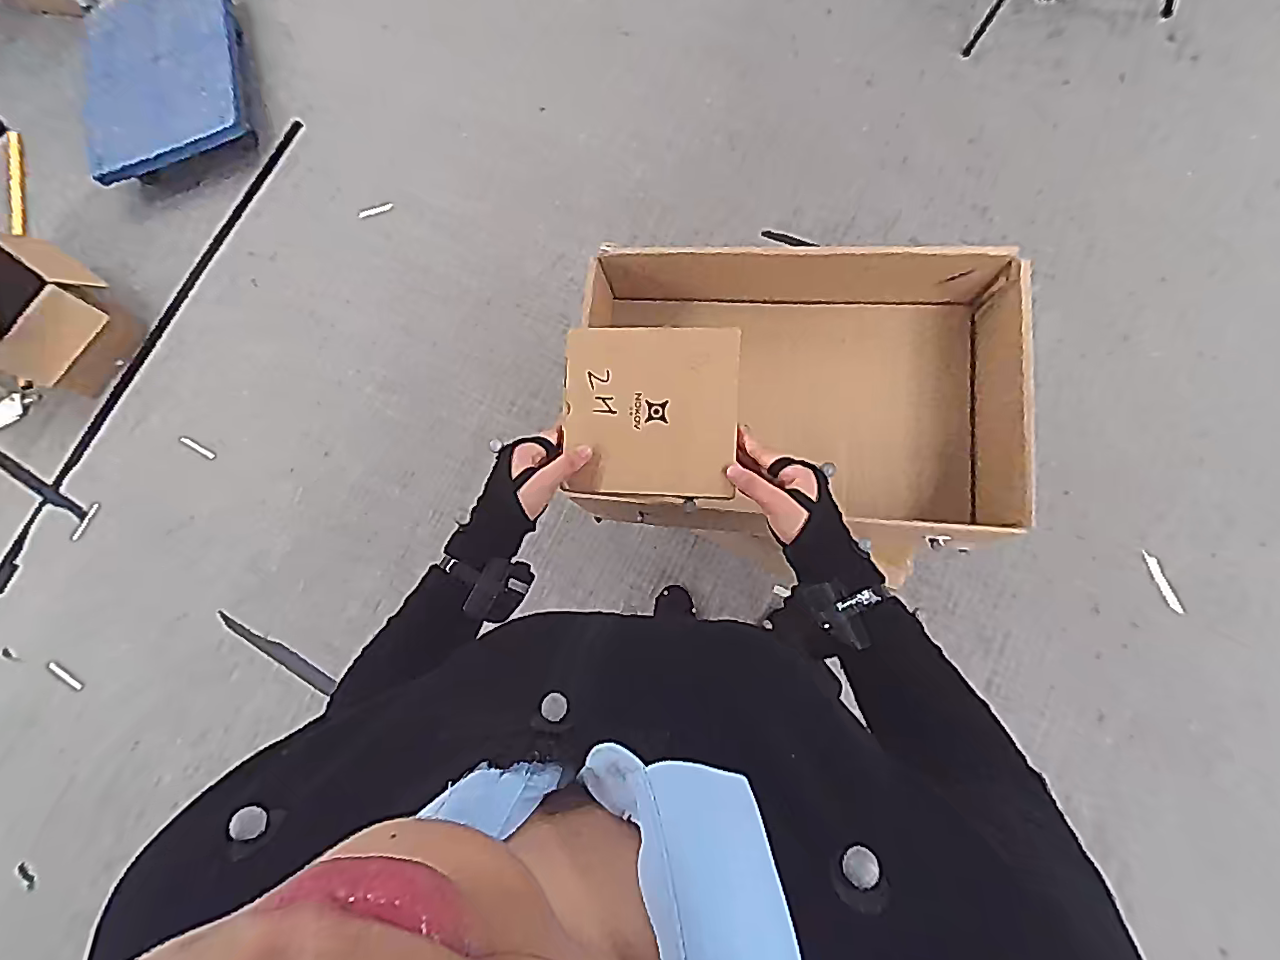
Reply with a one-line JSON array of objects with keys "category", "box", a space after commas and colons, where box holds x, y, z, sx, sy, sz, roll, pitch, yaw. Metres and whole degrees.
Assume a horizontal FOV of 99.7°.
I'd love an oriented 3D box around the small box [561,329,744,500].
[{"category": "small box", "box": [0.022, -0.064, 0.610, 0.179, 0.176, 0.168, 2, 88, 9]}]
